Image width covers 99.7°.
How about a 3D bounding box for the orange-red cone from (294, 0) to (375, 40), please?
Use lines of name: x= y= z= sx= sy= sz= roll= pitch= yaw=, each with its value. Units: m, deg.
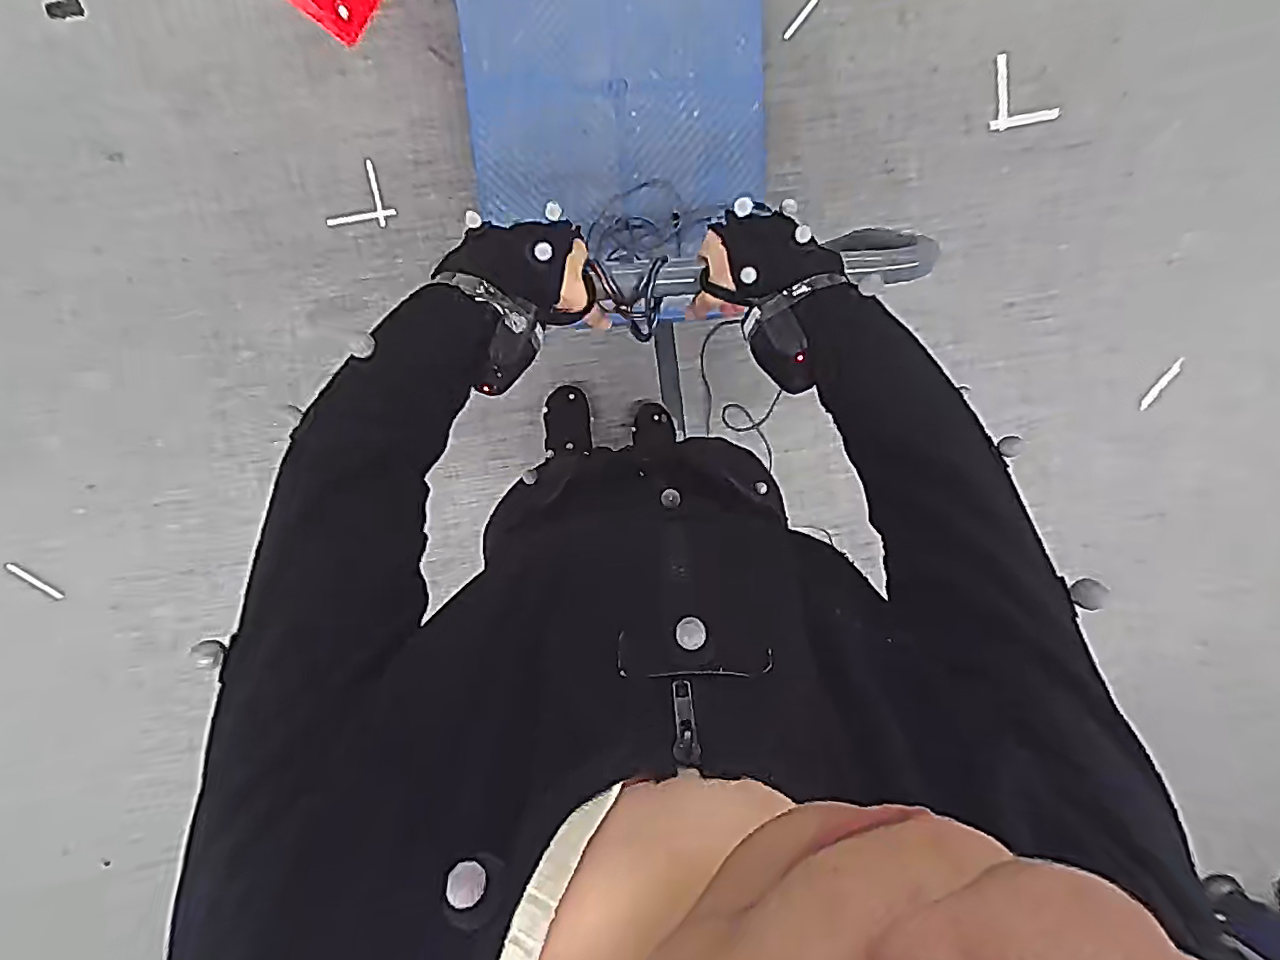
orange-red cone: x=-0.607 y=-0.998 z=0.923 sx=0.198 sy=0.360 sz=0.199 roll=36 pitch=95 yaw=-12
